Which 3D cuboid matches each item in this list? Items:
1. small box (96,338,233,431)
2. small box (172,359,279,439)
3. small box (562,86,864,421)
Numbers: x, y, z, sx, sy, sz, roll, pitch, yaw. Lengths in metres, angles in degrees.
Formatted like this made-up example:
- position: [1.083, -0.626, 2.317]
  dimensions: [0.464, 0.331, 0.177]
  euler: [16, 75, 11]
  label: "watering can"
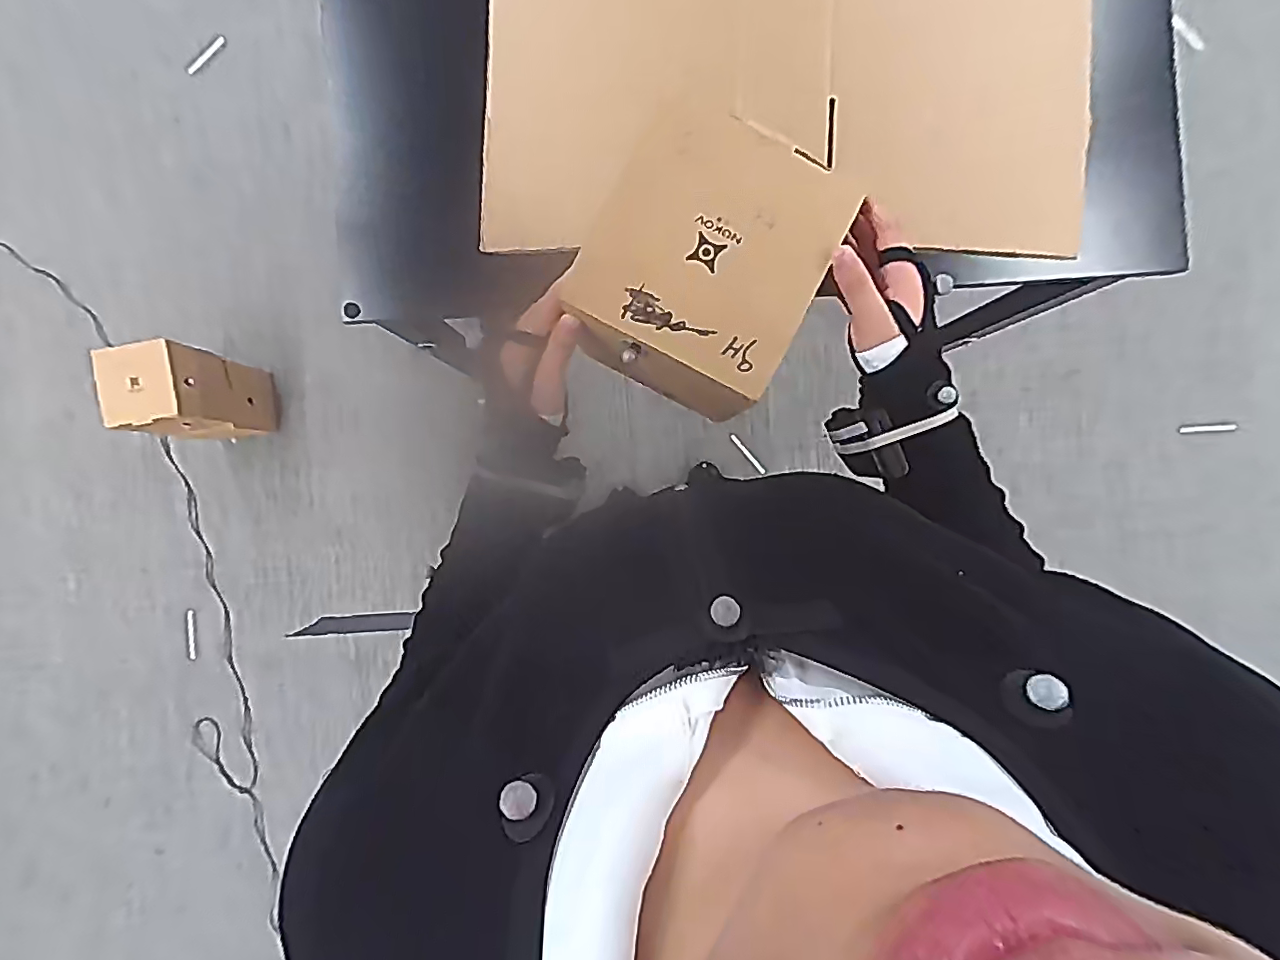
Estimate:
- position: [-1.095, -0.214, 1.262]
  dimensions: [0.168, 0.176, 0.179]
  euler: [-10, 89, -1]
  label: "small box"
- position: [-1.093, -0.208, 1.424]
  dimensions: [0.168, 0.176, 0.179]
  euler: [-7, 91, 0]
  label: "small box"
- position: [0.052, -0.171, 0.467]
  dimensions: [0.168, 0.176, 0.179]
  euler: [28, 89, 1]
  label: "small box"
